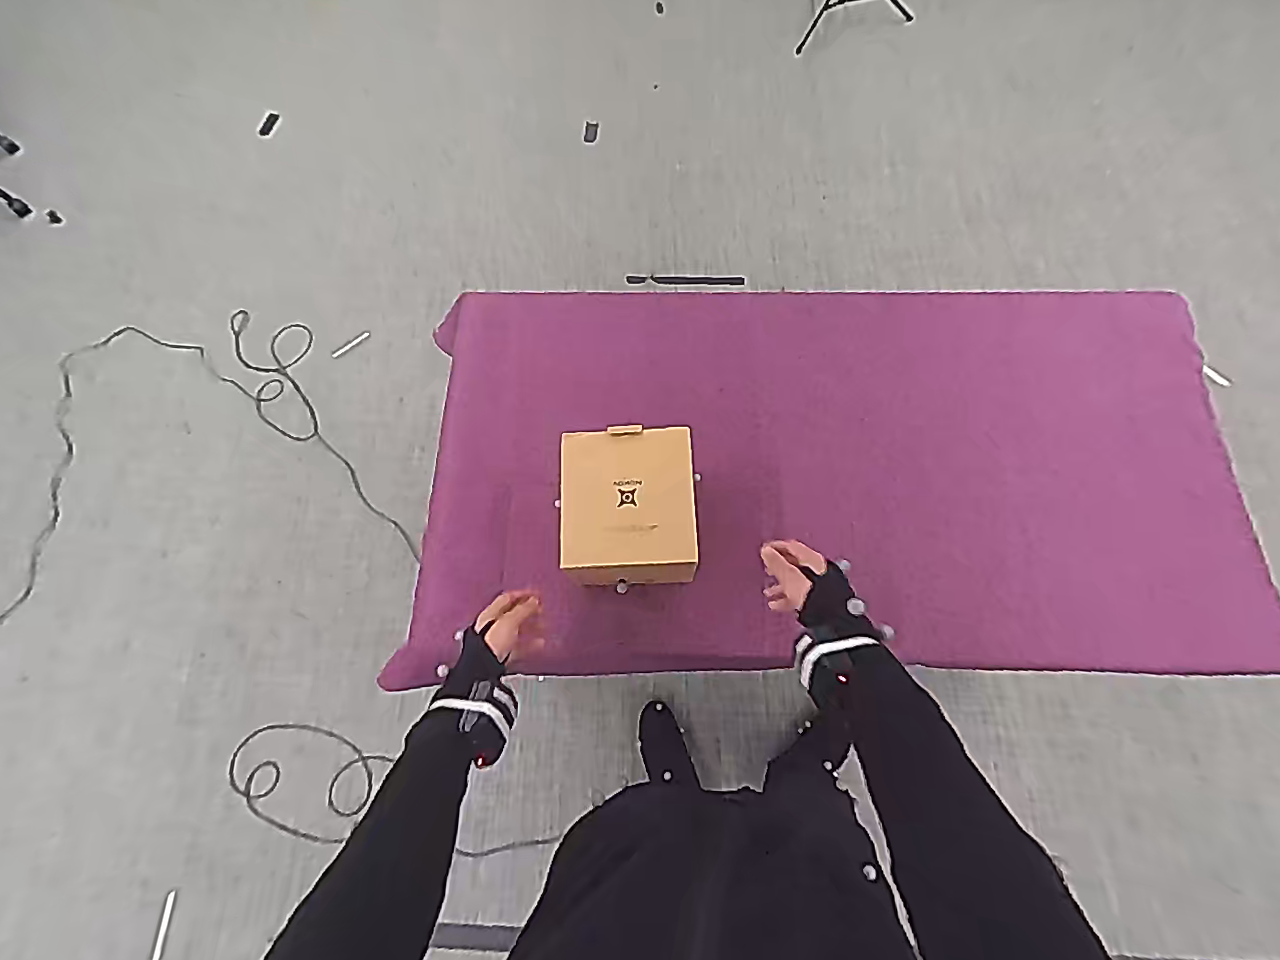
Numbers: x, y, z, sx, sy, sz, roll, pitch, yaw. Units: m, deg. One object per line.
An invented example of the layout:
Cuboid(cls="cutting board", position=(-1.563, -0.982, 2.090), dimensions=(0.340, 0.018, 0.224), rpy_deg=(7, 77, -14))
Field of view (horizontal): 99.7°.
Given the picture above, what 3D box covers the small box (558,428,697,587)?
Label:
Cuboid(cls="small box", position=(-0.013, 0.043, 0.730), dimensions=(0.168, 0.176, 0.179), rpy_deg=(-2, 71, 2))
